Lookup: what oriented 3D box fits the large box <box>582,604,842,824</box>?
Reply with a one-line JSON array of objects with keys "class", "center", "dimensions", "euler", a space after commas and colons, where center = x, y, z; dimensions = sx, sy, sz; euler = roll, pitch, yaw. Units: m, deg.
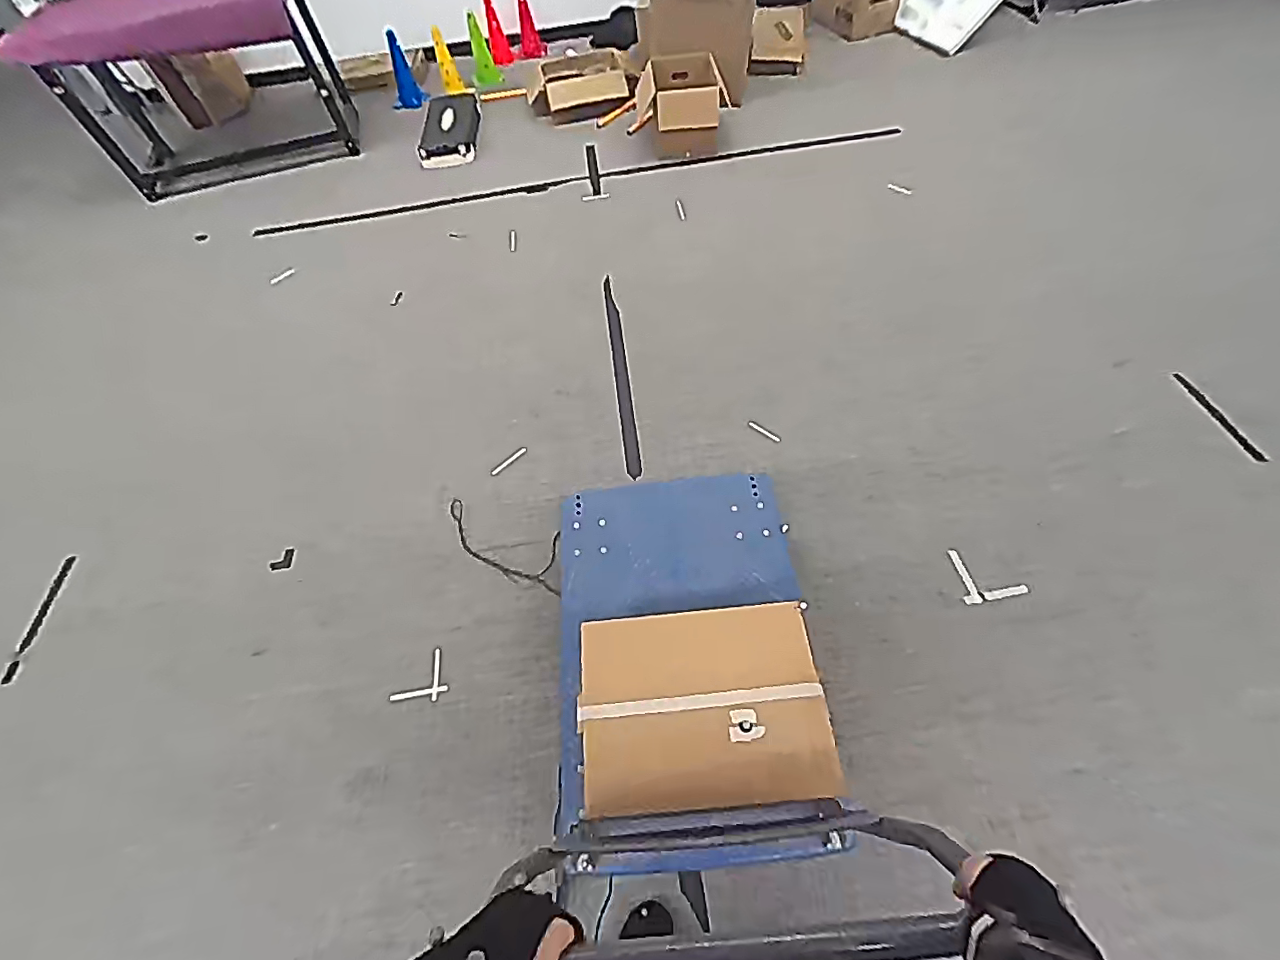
[{"class": "large box", "center": [0.113, 0.460, 1.043], "dimensions": [0.408, 0.320, 0.320], "euler": [-6, 58, 0]}]
